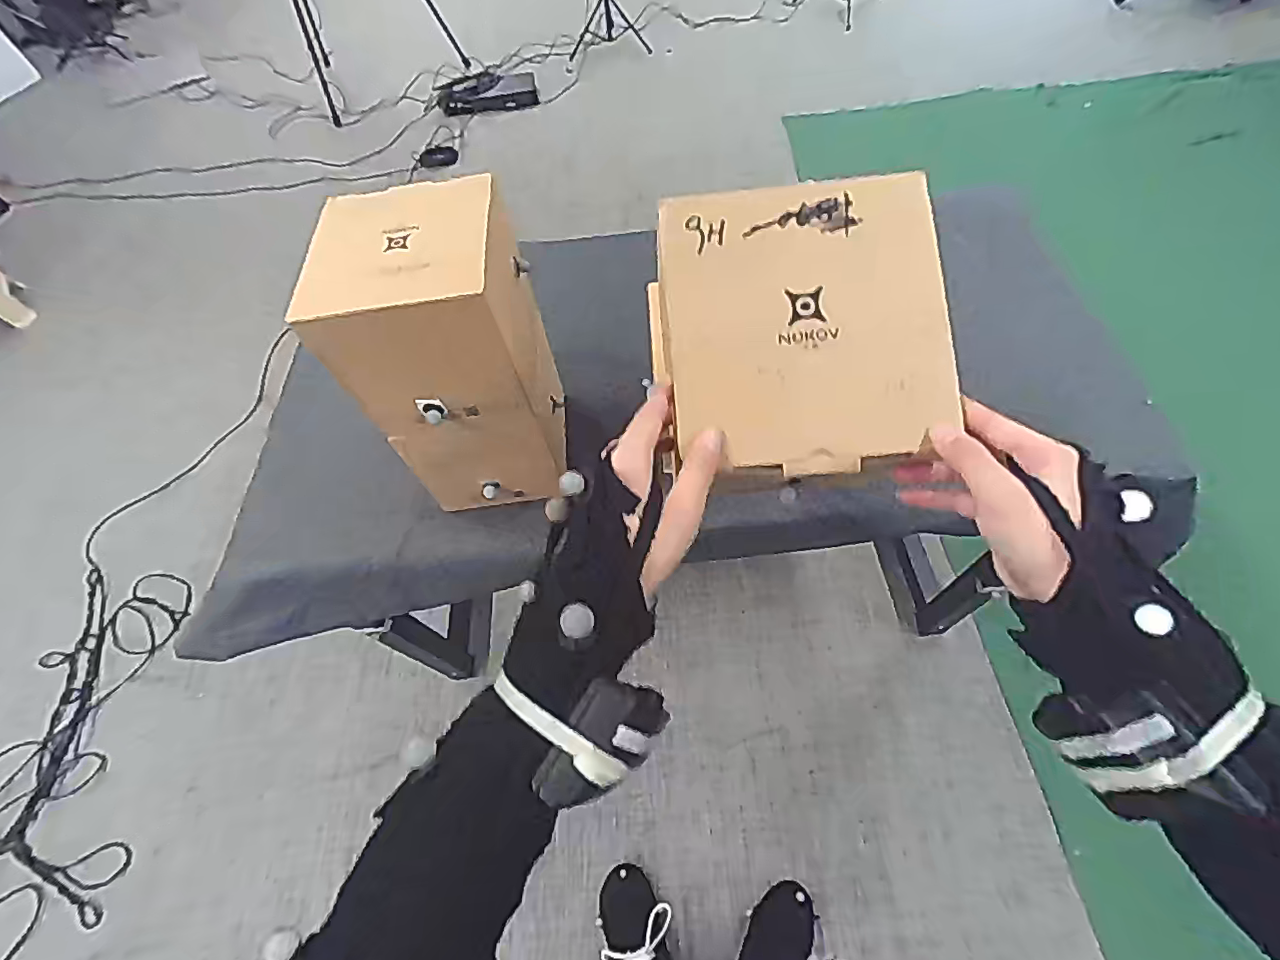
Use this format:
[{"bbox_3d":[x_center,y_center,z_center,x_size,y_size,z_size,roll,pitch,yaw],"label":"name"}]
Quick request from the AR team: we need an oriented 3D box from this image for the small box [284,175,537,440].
[{"bbox_3d":[-0.204,-0.164,0.539,0.168,0.176,0.179,-9,59,2],"label":"small box"}]

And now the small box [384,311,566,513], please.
[{"bbox_3d":[-0.191,-0.080,0.677,0.168,0.176,0.179,-8,59,1],"label":"small box"}]

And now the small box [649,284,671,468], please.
[{"bbox_3d":[0.099,-0.129,0.681,0.168,0.176,0.179,-5,59,2],"label":"small box"}]

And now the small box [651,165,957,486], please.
[{"bbox_3d":[0.099,-0.089,0.398,0.168,0.176,0.179,-5,84,2],"label":"small box"}]
